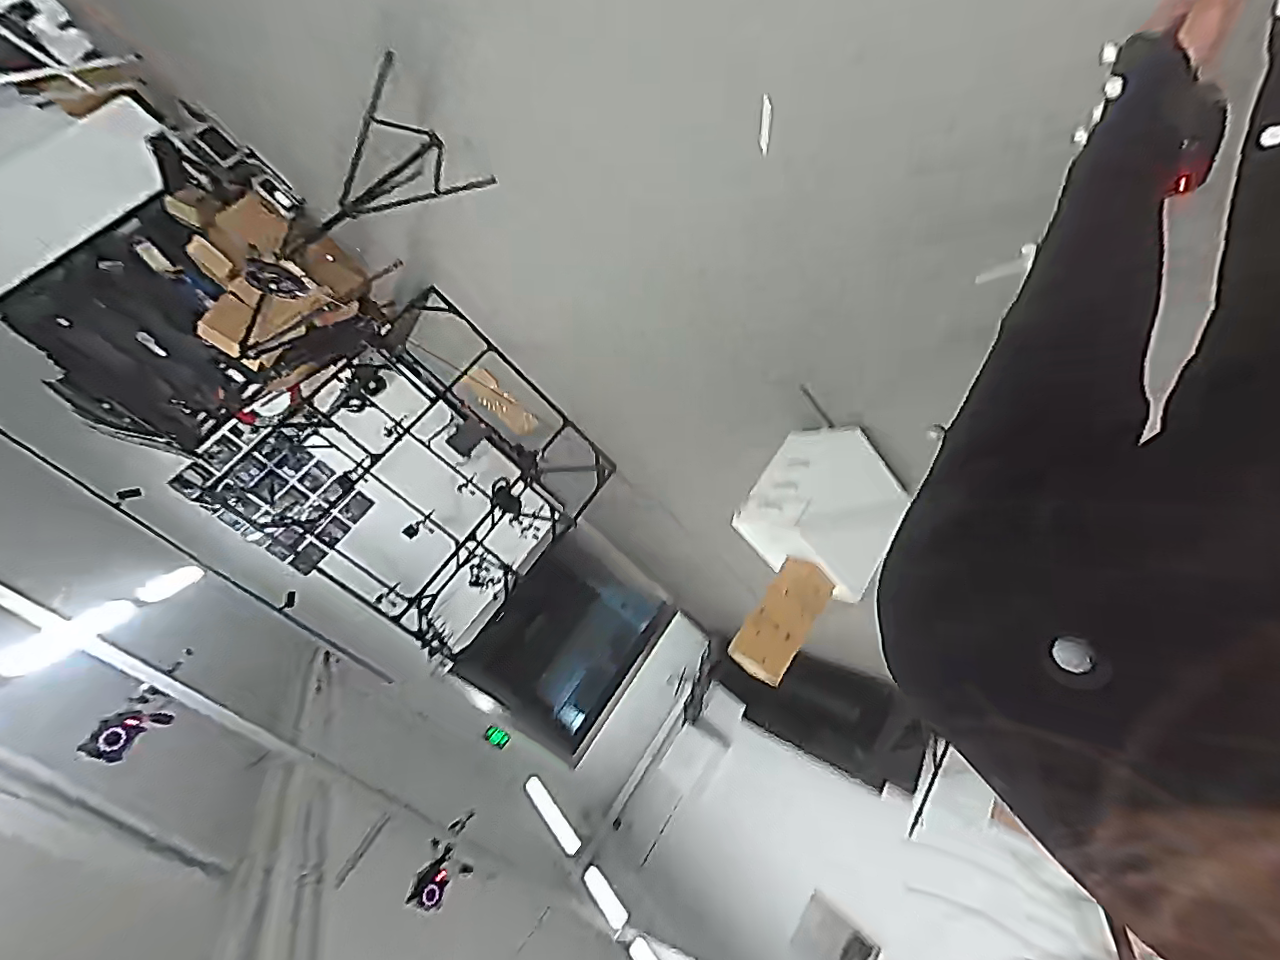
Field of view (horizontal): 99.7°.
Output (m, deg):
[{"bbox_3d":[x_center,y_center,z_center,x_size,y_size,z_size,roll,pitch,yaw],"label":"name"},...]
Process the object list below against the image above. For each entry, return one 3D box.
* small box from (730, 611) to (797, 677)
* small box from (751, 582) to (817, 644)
[{"bbox_3d":[0.514,0.674,2.229,0.179,0.176,0.168,45,161,-24],"label":"small box"},{"bbox_3d":[0.611,0.554,2.282,0.168,0.176,0.179,45,161,-26],"label":"small box"}]
